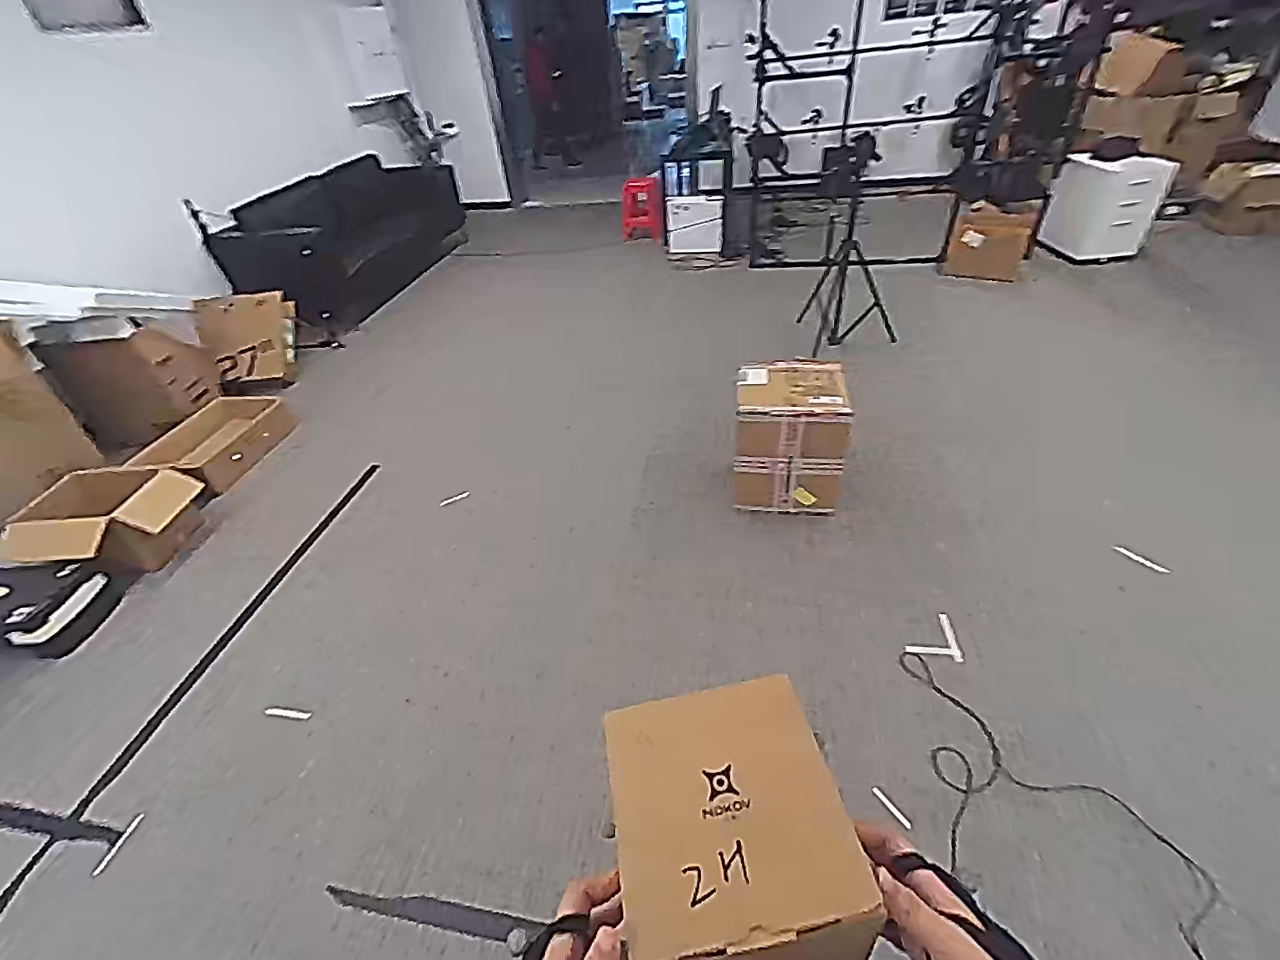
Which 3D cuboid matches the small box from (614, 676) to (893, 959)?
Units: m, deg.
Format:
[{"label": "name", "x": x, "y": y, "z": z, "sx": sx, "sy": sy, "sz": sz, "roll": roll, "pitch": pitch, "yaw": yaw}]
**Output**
[{"label": "small box", "x": 0.077, "y": 0.297, "z": 0.445, "sx": 0.168, "sy": 0.176, "sz": 0.179, "roll": -11, "pitch": 36, "yaw": -1}]
